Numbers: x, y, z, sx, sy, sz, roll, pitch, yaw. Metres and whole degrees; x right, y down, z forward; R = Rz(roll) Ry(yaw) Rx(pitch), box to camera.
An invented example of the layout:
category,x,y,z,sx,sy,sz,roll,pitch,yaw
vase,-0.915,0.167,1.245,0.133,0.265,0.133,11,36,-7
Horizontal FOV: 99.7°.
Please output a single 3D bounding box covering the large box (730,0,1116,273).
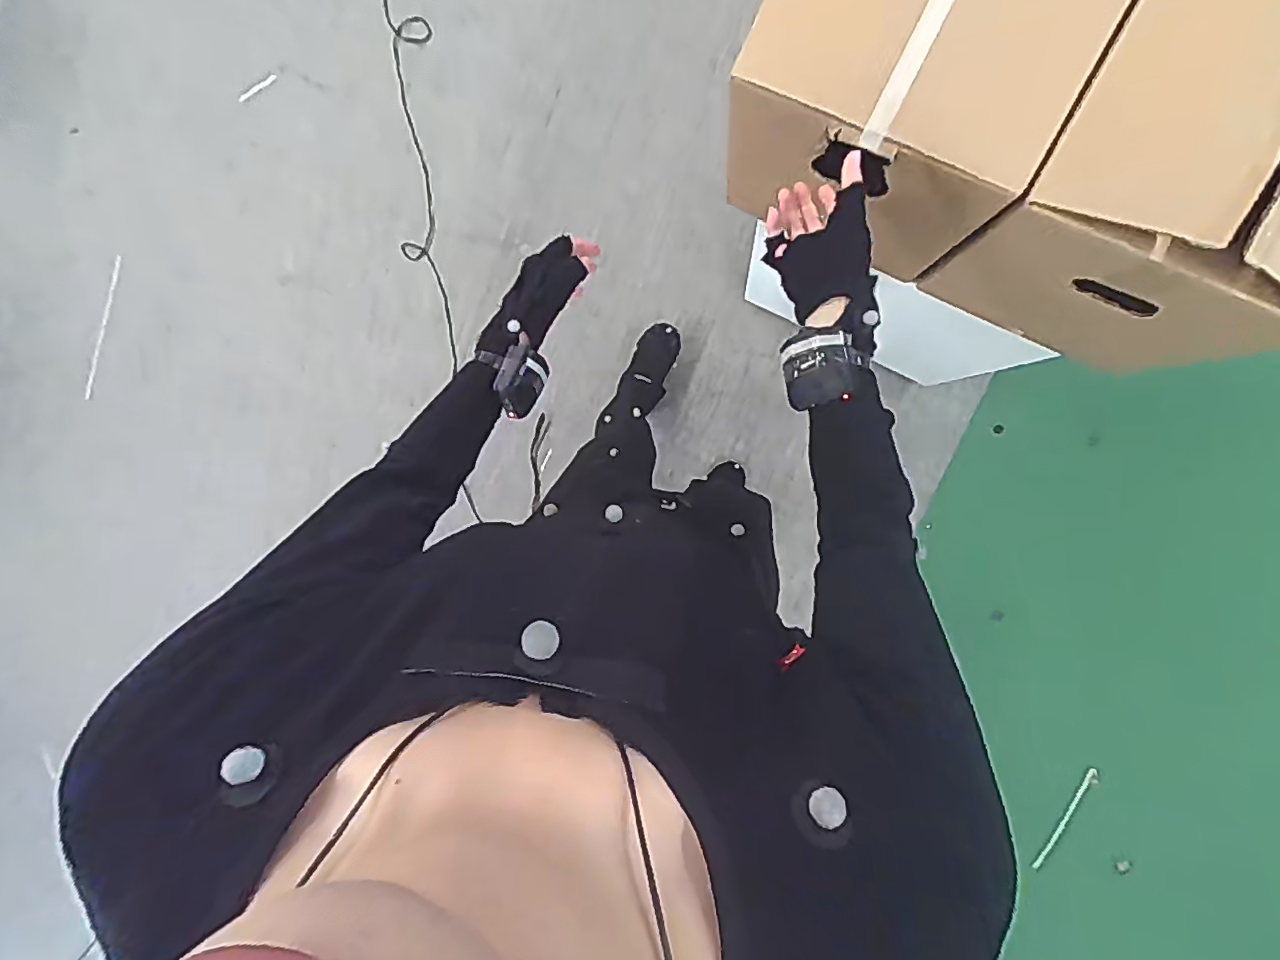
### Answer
category,x,y,z,sx,sy,sz,roll,pitch,yaw
large box,0.330,-0.535,0.651,0.320,0.320,0.408,27,98,5
